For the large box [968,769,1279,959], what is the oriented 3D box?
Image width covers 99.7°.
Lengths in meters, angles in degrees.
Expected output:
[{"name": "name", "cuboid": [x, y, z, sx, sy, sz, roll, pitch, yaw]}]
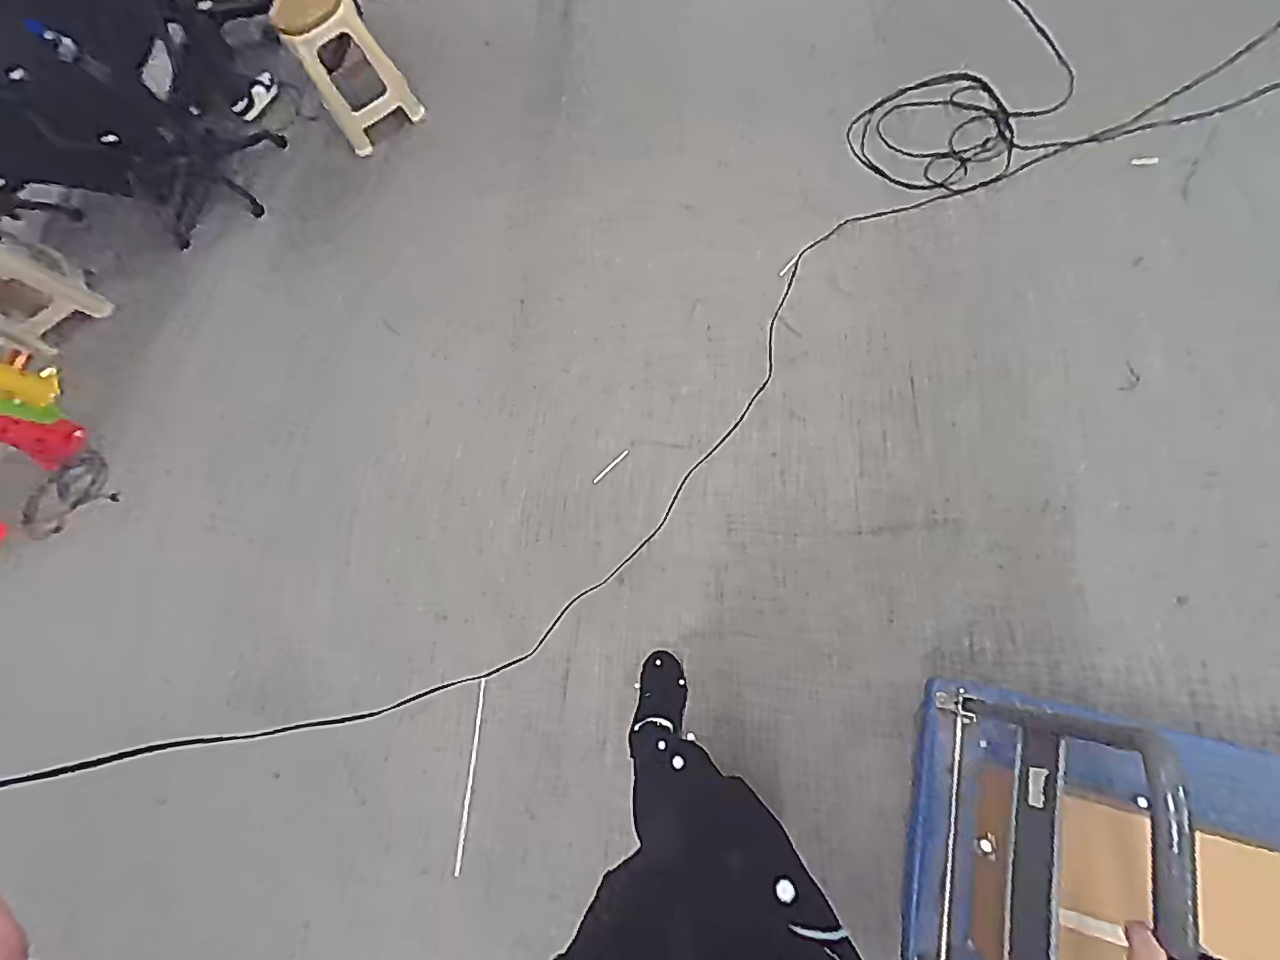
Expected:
[{"name": "large box", "cuboid": [0.799, 0.698, 0.860, 0.408, 0.320, 0.320, 10, 74, 15]}]
